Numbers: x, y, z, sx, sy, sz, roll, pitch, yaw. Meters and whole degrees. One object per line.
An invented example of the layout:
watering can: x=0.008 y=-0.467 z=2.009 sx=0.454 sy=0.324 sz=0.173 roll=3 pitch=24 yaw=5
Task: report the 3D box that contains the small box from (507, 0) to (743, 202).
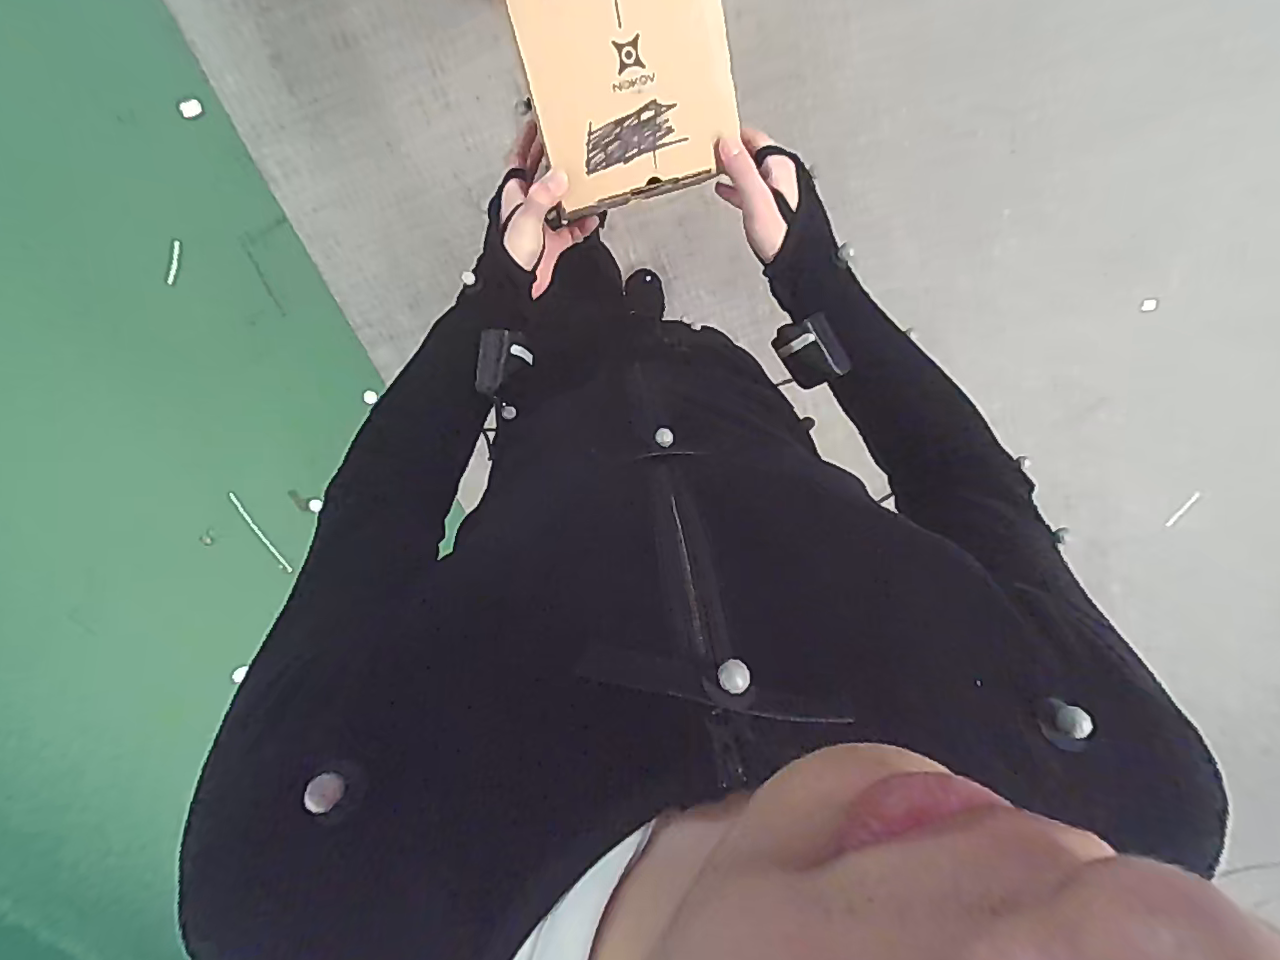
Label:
small box: x=-0.018 y=-0.368 z=0.497 sx=0.168 sy=0.176 sz=0.179 roll=-16 pitch=114 yaw=-2
